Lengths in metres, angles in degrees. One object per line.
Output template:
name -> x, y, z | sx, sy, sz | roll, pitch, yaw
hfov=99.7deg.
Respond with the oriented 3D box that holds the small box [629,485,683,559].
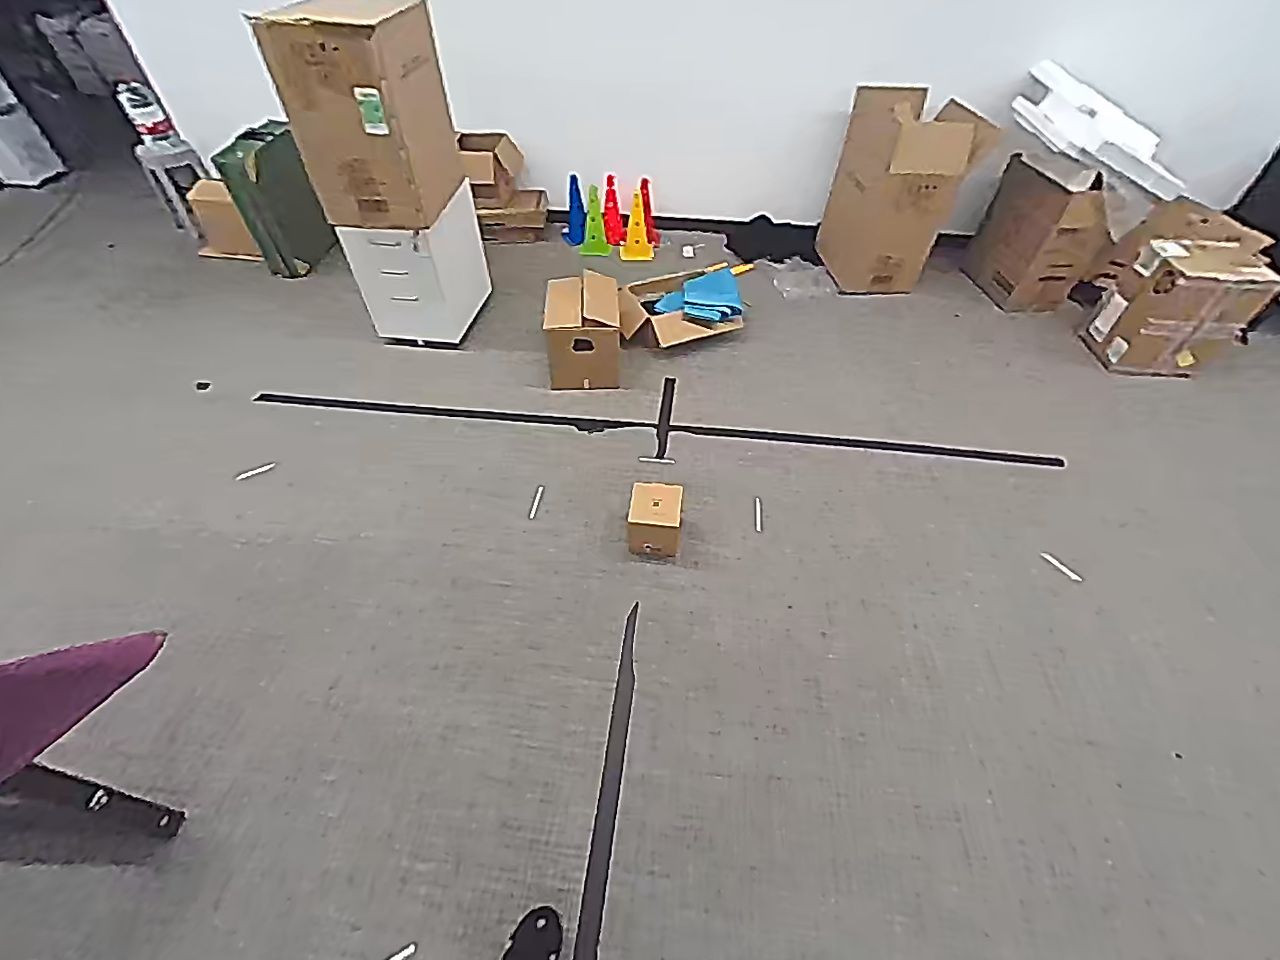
small box -> 0.054, 0.142, 1.819 | 0.168, 0.176, 0.179 | 5, 48, 4
